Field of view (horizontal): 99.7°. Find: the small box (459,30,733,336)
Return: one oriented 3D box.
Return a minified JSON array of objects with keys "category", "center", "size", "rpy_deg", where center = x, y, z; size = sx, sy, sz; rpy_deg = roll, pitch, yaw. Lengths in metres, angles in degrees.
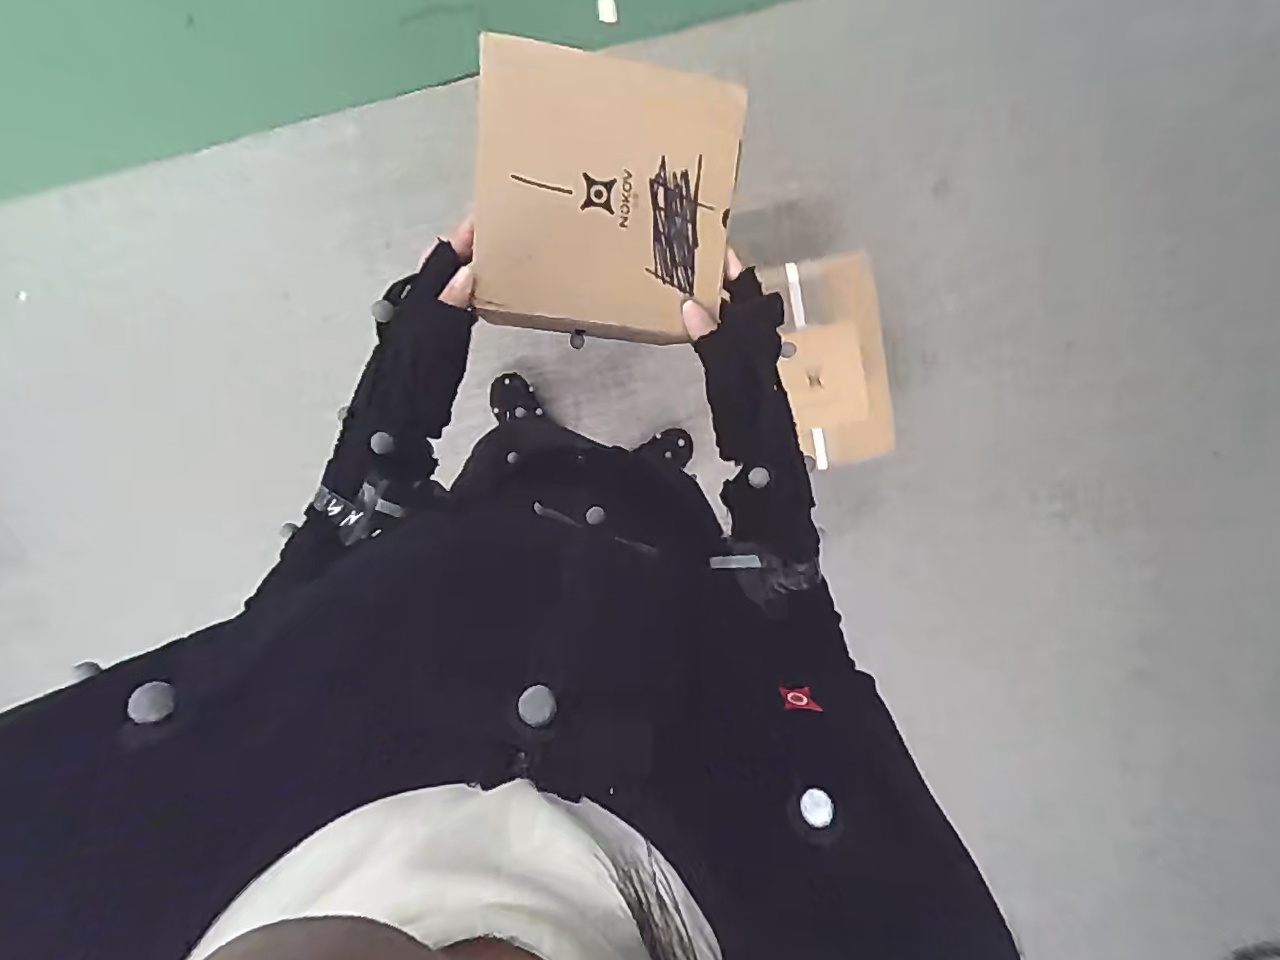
[{"category":"small box","center":[-0.044,-0.209,0.437],"size":[0.179,0.176,0.168],"rpy_deg":[3,102,-11]}]
